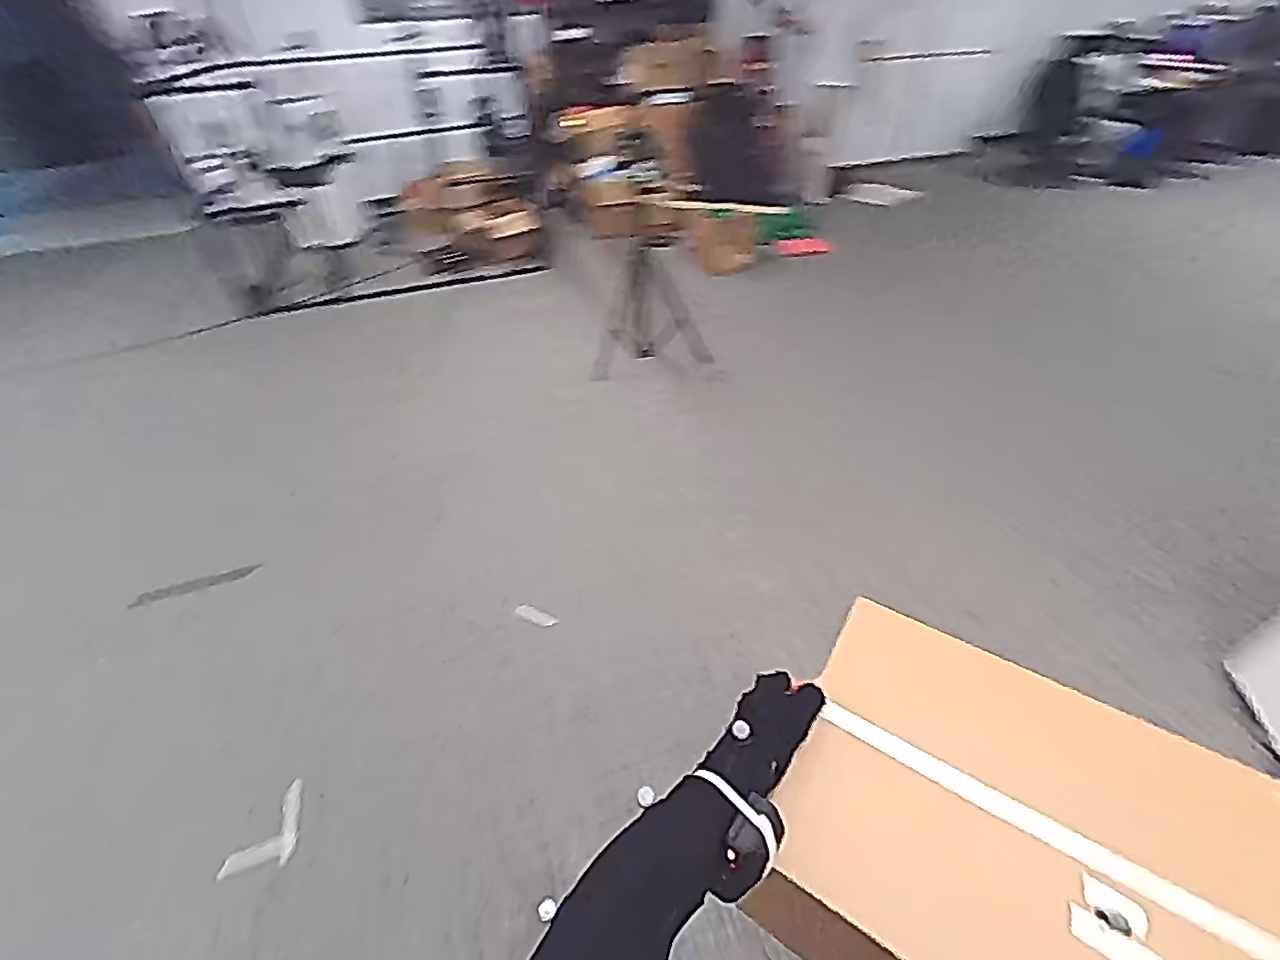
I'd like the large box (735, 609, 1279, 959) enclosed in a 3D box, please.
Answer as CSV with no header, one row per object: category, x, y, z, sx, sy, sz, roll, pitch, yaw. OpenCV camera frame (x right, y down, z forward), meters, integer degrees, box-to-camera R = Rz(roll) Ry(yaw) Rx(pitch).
large box,0.354,0.419,0.601,0.408,0.320,0.320,22,51,26
